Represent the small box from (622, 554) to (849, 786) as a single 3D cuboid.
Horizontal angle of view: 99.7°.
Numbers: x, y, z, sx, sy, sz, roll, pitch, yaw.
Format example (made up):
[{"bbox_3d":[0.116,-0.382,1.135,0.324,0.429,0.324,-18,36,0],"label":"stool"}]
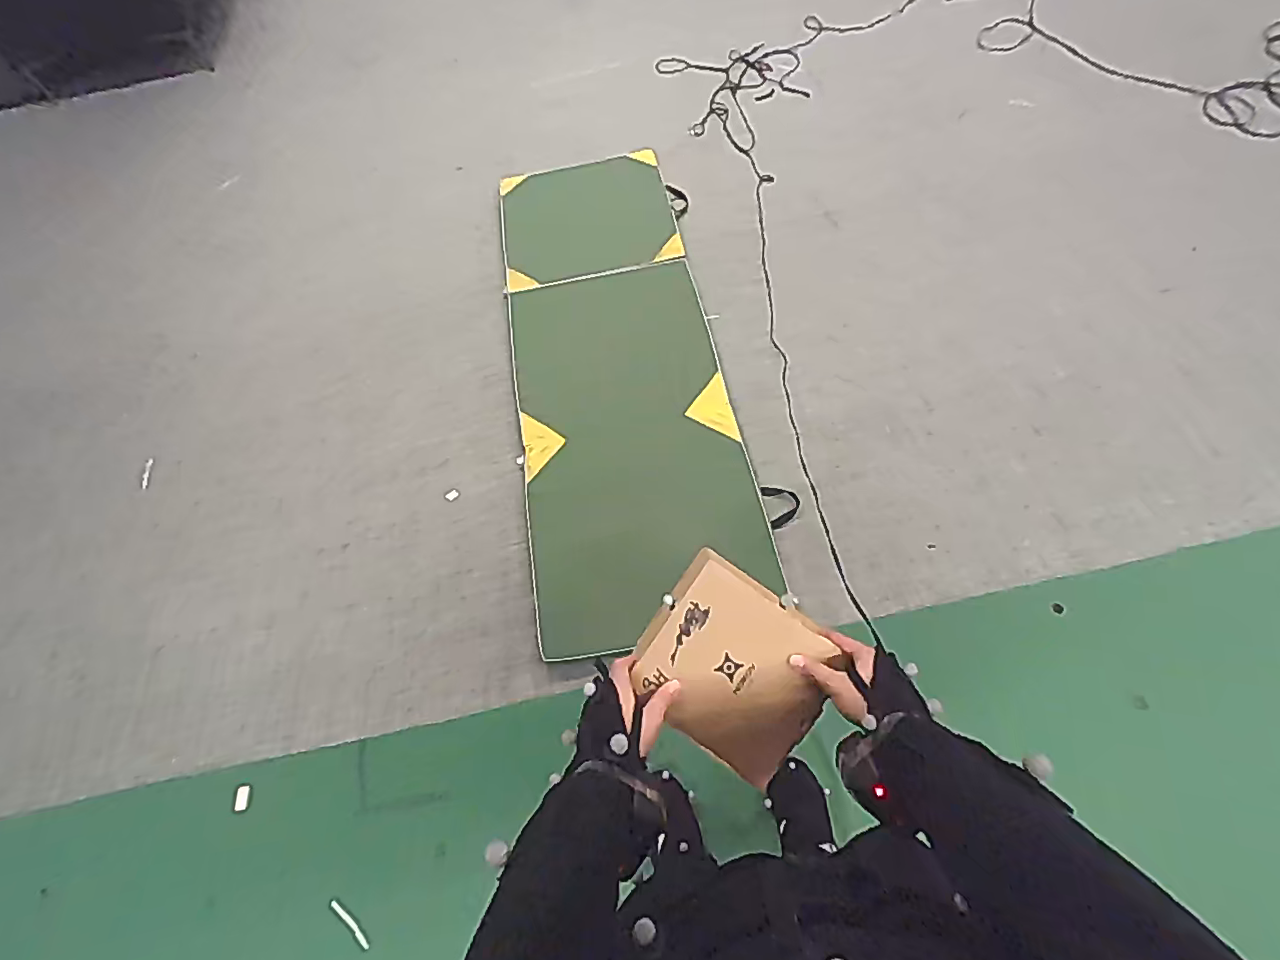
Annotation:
[{"bbox_3d":[0.102,0.199,0.629,0.179,0.176,0.168,36,89,6],"label":"small box"}]
